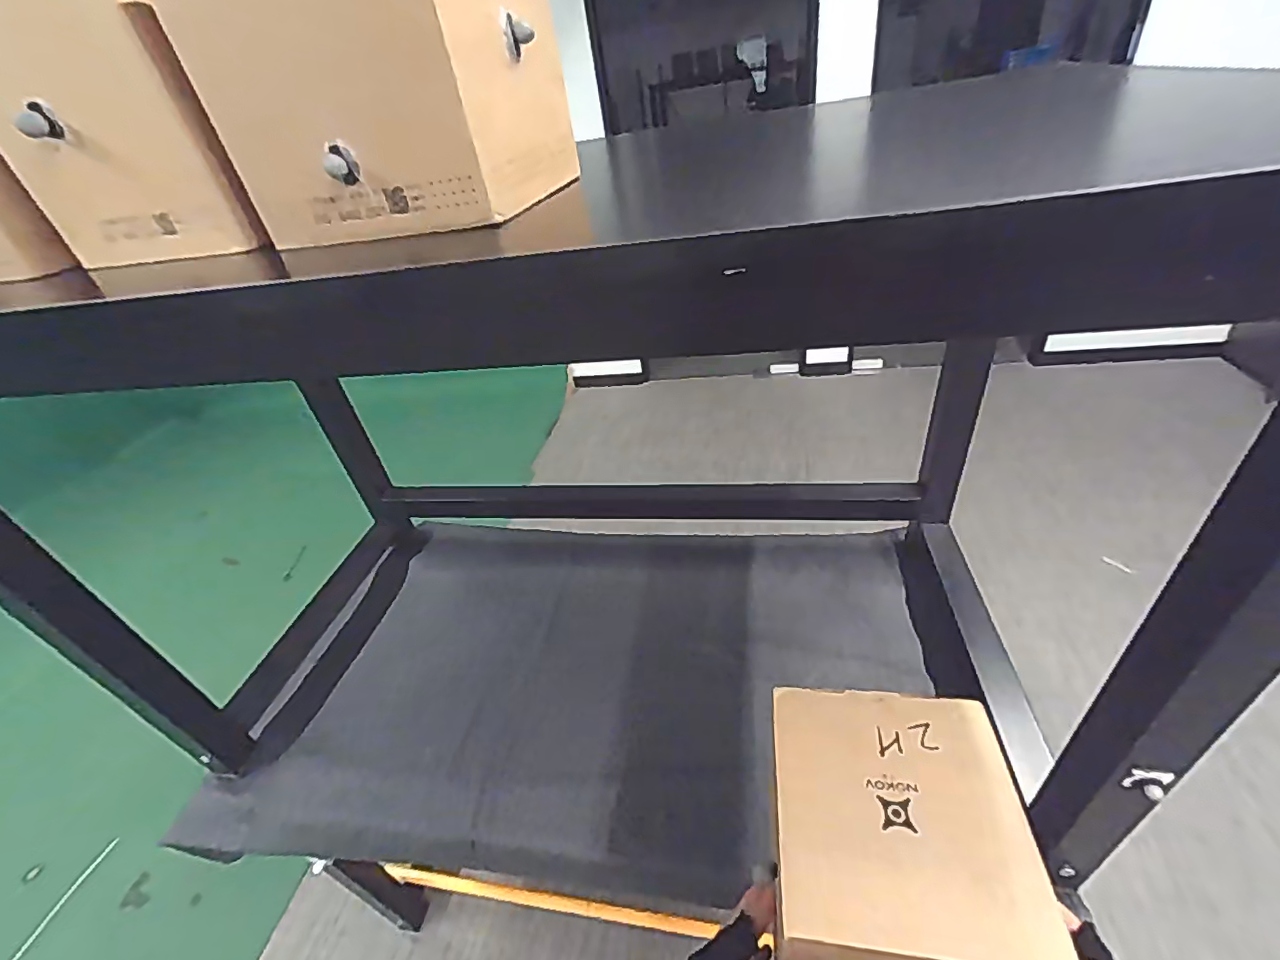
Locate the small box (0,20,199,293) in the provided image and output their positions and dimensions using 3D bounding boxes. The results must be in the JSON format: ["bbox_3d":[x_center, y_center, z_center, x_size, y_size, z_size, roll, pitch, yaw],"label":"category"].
[{"bbox_3d":[-0.534,-0.268,0.460,0.168,0.176,0.179,1,38,14],"label":"small box"}]

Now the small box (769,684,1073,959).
[{"bbox_3d":[0.190,0.292,0.430,0.168,0.176,0.179,0,36,11],"label":"small box"}]
